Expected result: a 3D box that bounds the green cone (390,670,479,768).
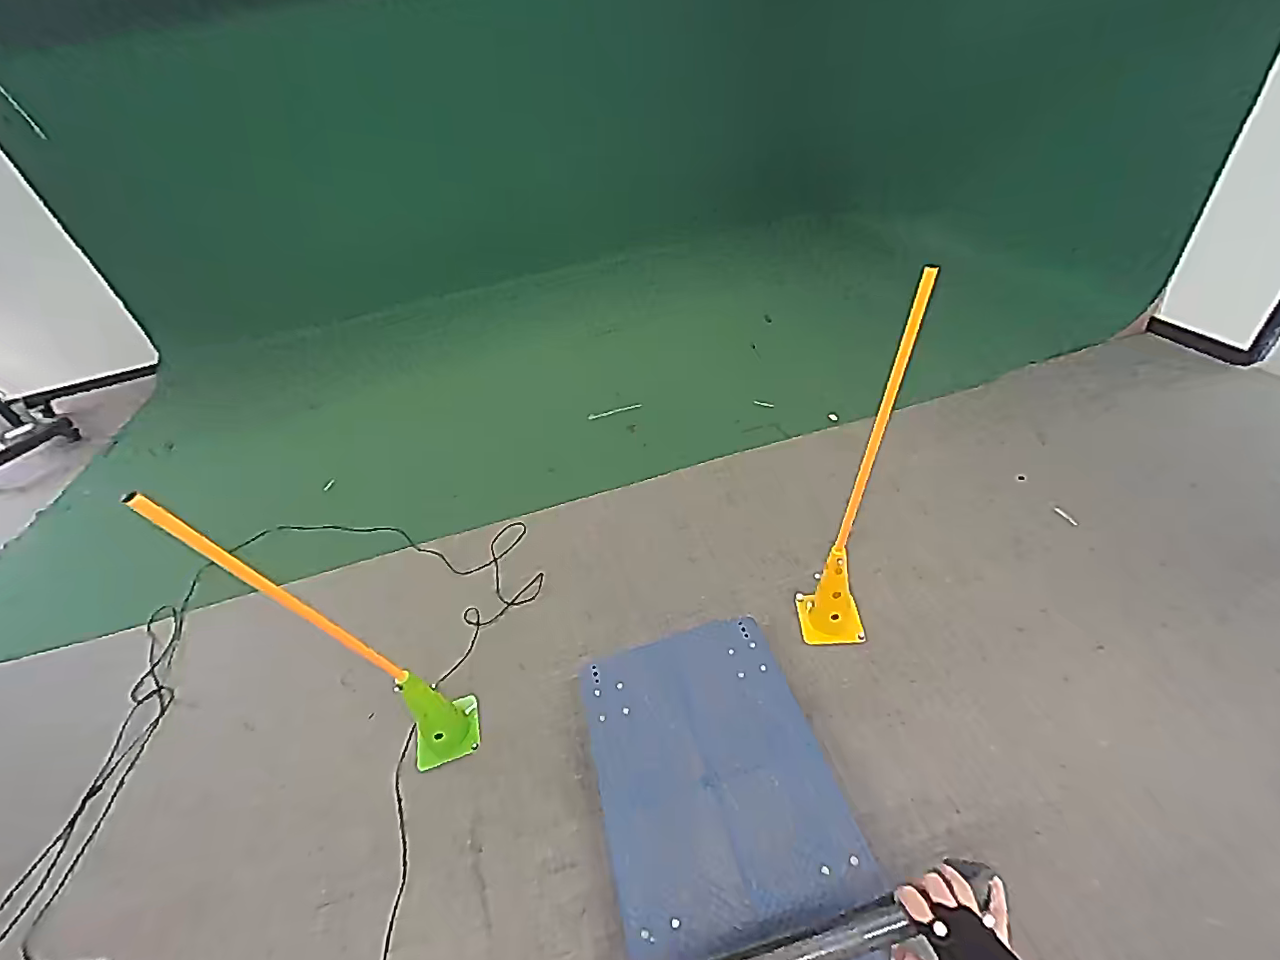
[{"bbox_3d":[-0.656,0.684,1.651,0.202,0.368,0.200,-20,40,-7],"label":"green cone"}]
